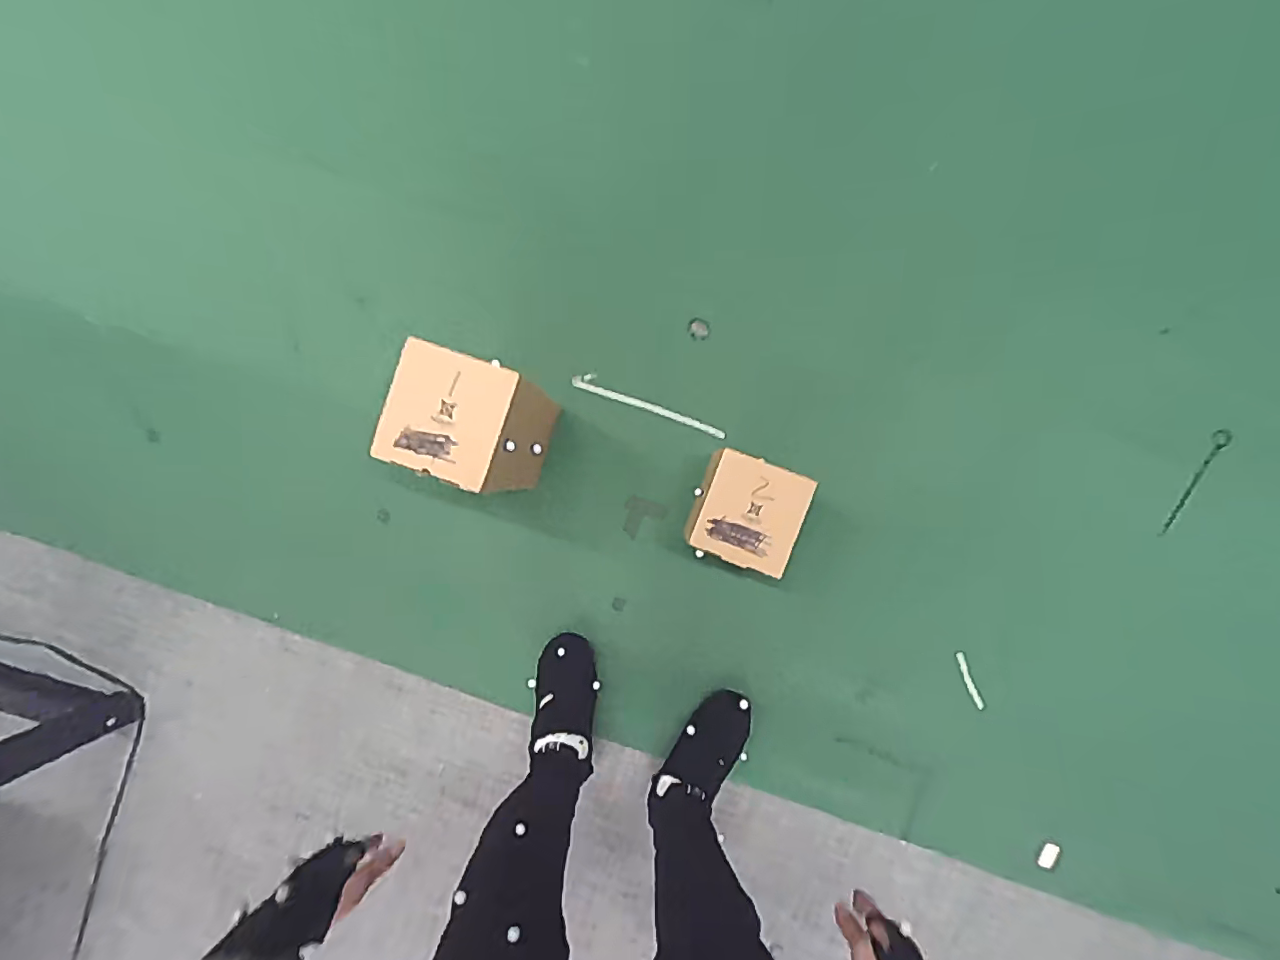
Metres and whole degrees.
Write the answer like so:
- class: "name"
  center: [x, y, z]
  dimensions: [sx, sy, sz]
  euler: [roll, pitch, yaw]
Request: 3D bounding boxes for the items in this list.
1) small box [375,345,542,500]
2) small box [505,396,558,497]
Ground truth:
- class: "small box"
  center: [-0.261, -0.079, 0.822]
  dimensions: [0.168, 0.176, 0.179]
  euler: [19, 90, 1]
- class: "small box"
  center: [-0.257, -0.079, 0.986]
  dimensions: [0.168, 0.176, 0.179]
  euler: [19, 91, 1]
